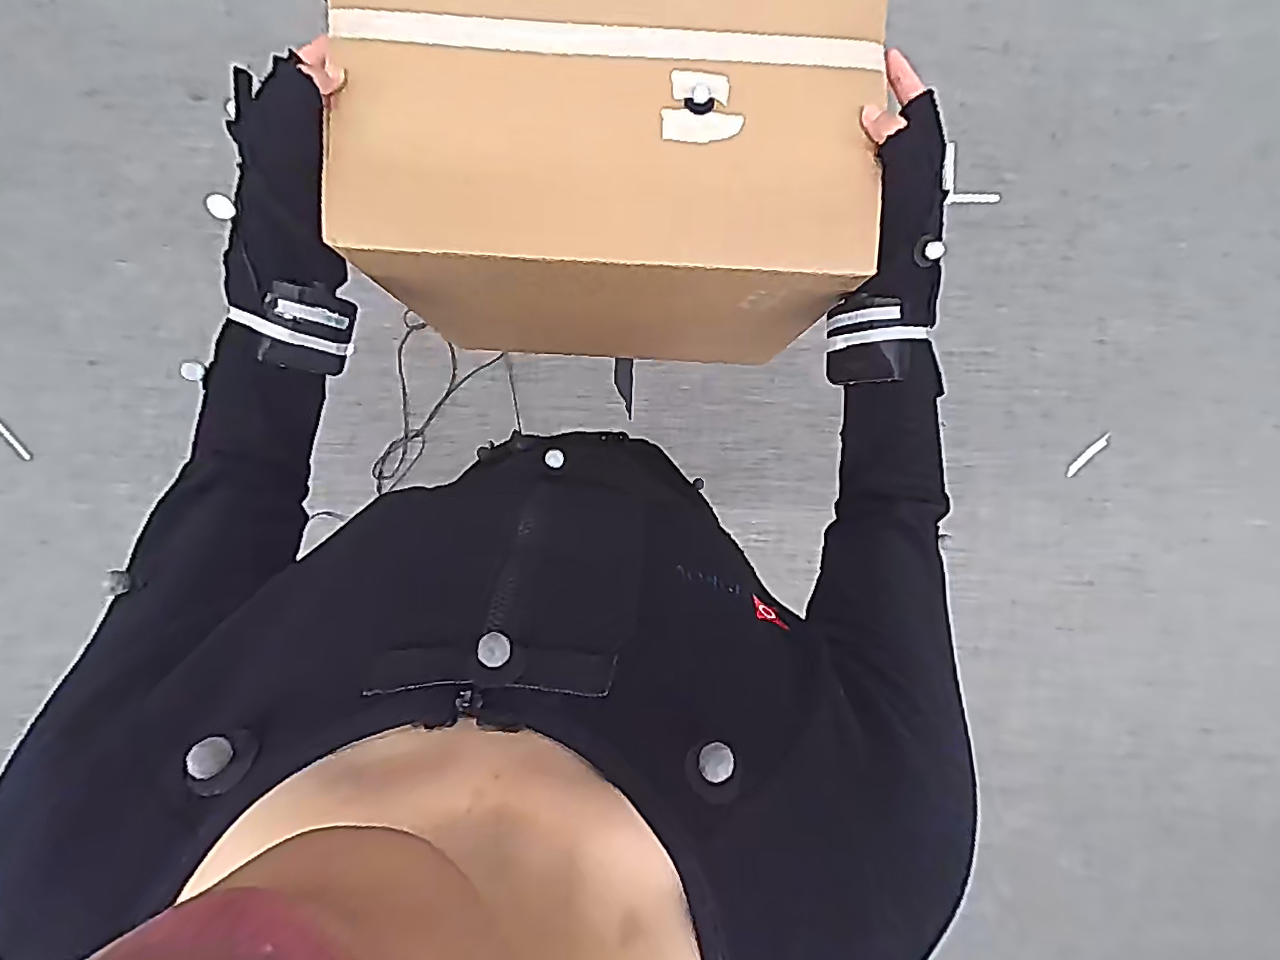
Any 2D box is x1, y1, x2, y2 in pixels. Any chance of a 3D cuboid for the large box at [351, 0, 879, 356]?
[{"bbox_3d":[-0.021,-0.321,0.561,0.408,0.320,0.320,2,90,-2],"label":"large box"}]
